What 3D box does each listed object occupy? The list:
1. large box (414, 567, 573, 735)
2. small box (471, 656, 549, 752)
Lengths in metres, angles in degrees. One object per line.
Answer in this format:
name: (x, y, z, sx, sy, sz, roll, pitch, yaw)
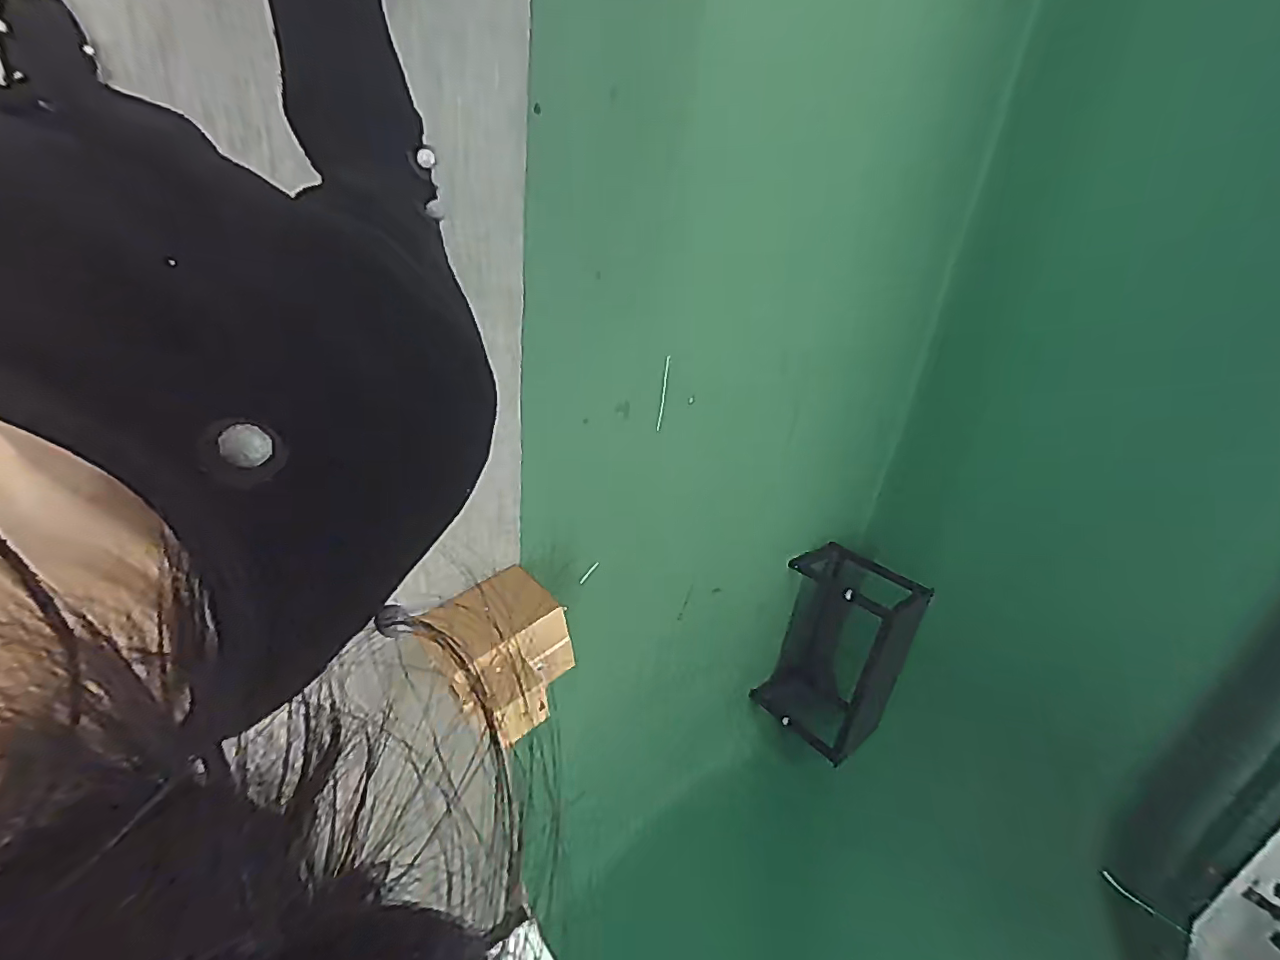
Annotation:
large box: (-0.505, 0.581, 1.897, 0.408, 0.320, 0.320, -29, 131, -33)
small box: (-0.407, 0.689, 1.680, 0.179, 0.176, 0.168, -24, 127, -34)
